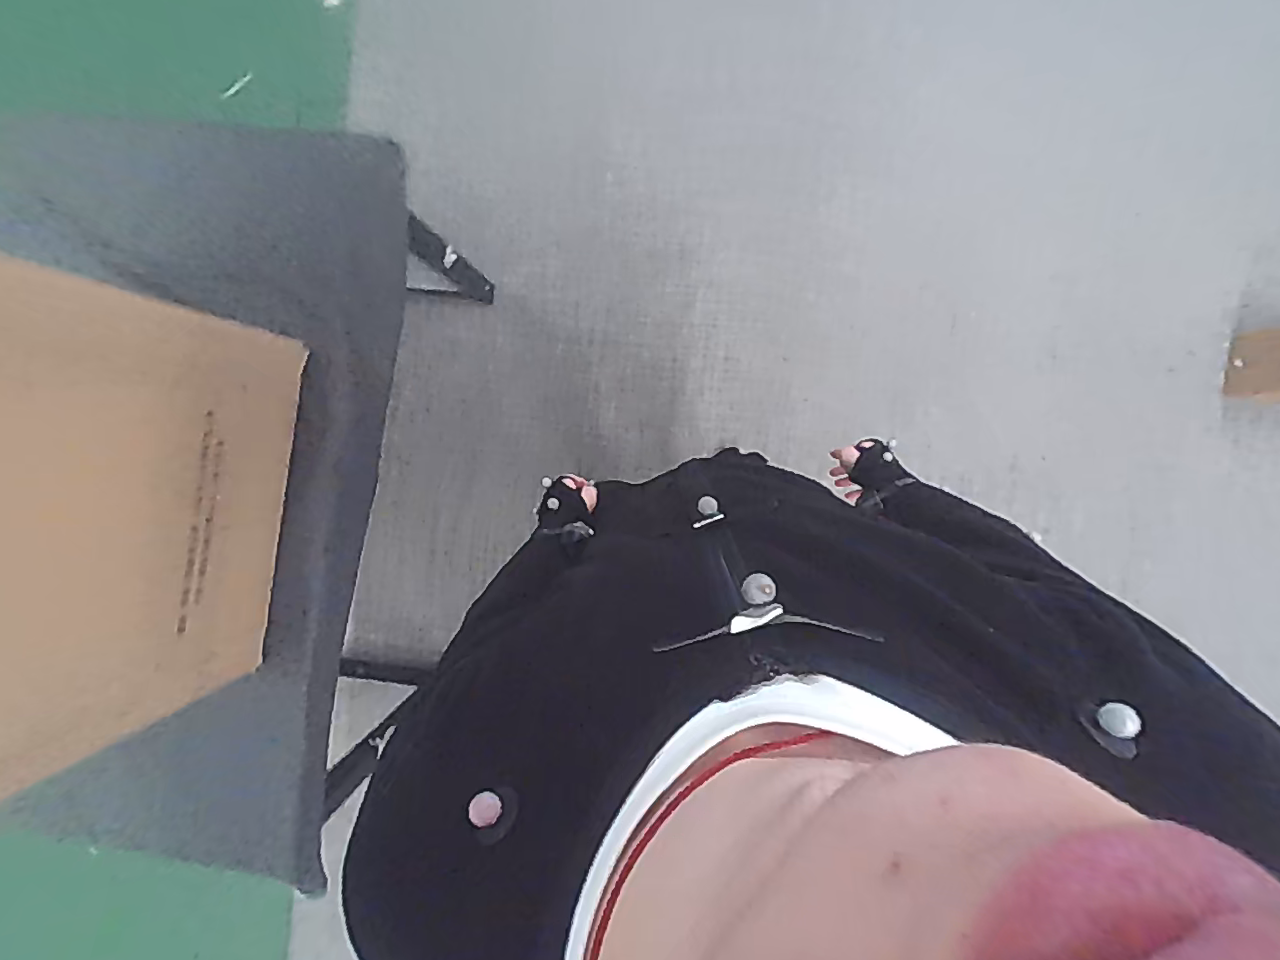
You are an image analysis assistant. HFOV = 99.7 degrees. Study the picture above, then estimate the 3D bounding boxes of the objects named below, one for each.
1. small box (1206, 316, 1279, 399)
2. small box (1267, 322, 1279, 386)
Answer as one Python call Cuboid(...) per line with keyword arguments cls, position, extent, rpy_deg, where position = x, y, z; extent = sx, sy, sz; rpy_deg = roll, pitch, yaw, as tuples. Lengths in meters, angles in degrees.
Cuboid(cls="small box", position=(1.601, -0.303, 1.364), extent=(0.168, 0.176, 0.179), rpy_deg=(7, 94, 2))
Cuboid(cls="small box", position=(1.585, -0.294, 1.200), extent=(0.179, 0.176, 0.168), rpy_deg=(6, 93, 3))
